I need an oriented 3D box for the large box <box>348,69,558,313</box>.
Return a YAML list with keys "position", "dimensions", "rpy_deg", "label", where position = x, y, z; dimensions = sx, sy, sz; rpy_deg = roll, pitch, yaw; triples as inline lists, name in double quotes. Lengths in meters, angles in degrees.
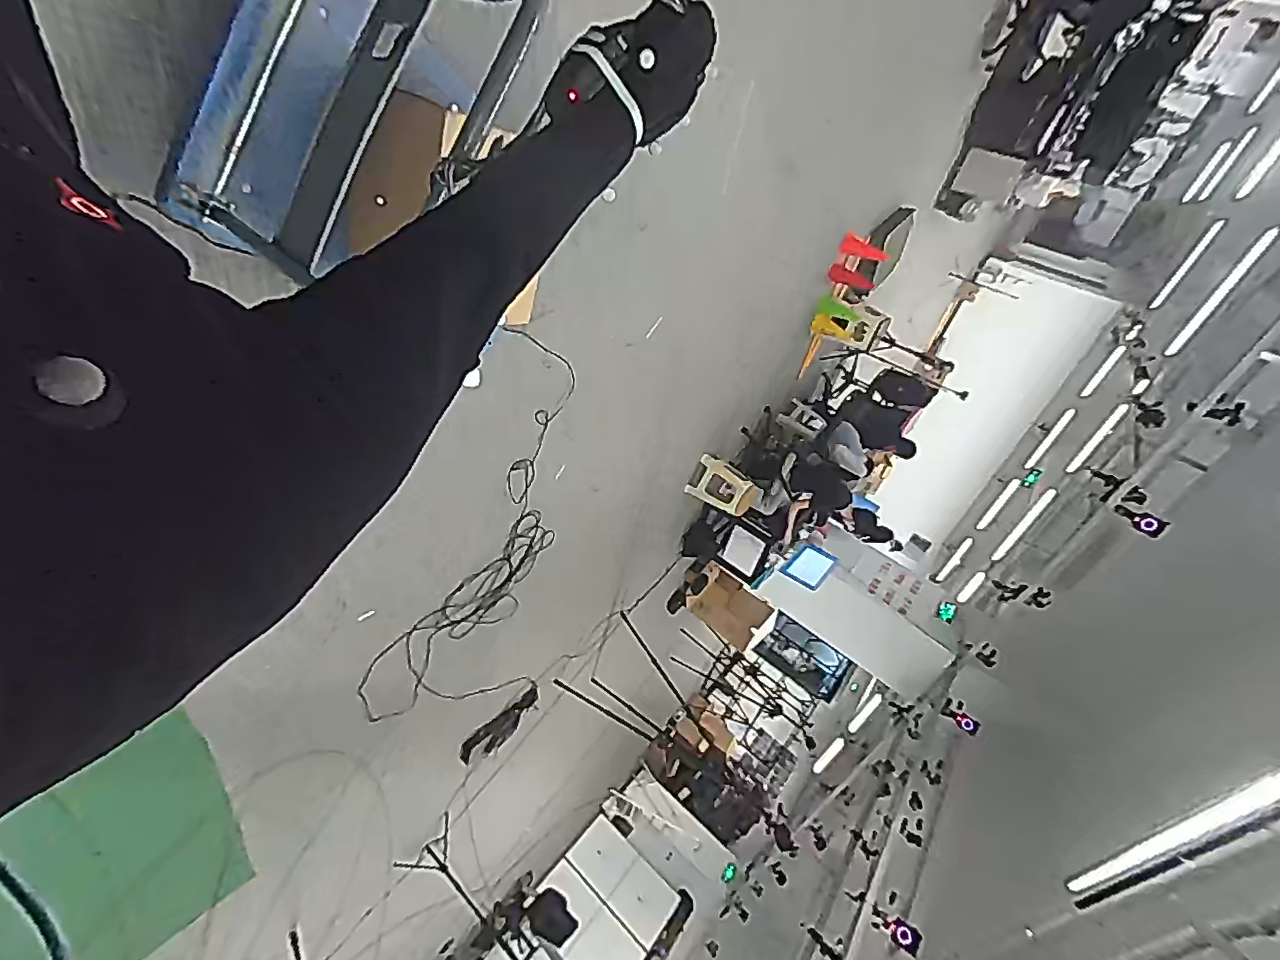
- position: [-0.439, -0.632, 1.243]
  dimensions: [0.320, 0.320, 0.408]
  rpy_deg: [-22, 139, -52]
  label: "large box"
